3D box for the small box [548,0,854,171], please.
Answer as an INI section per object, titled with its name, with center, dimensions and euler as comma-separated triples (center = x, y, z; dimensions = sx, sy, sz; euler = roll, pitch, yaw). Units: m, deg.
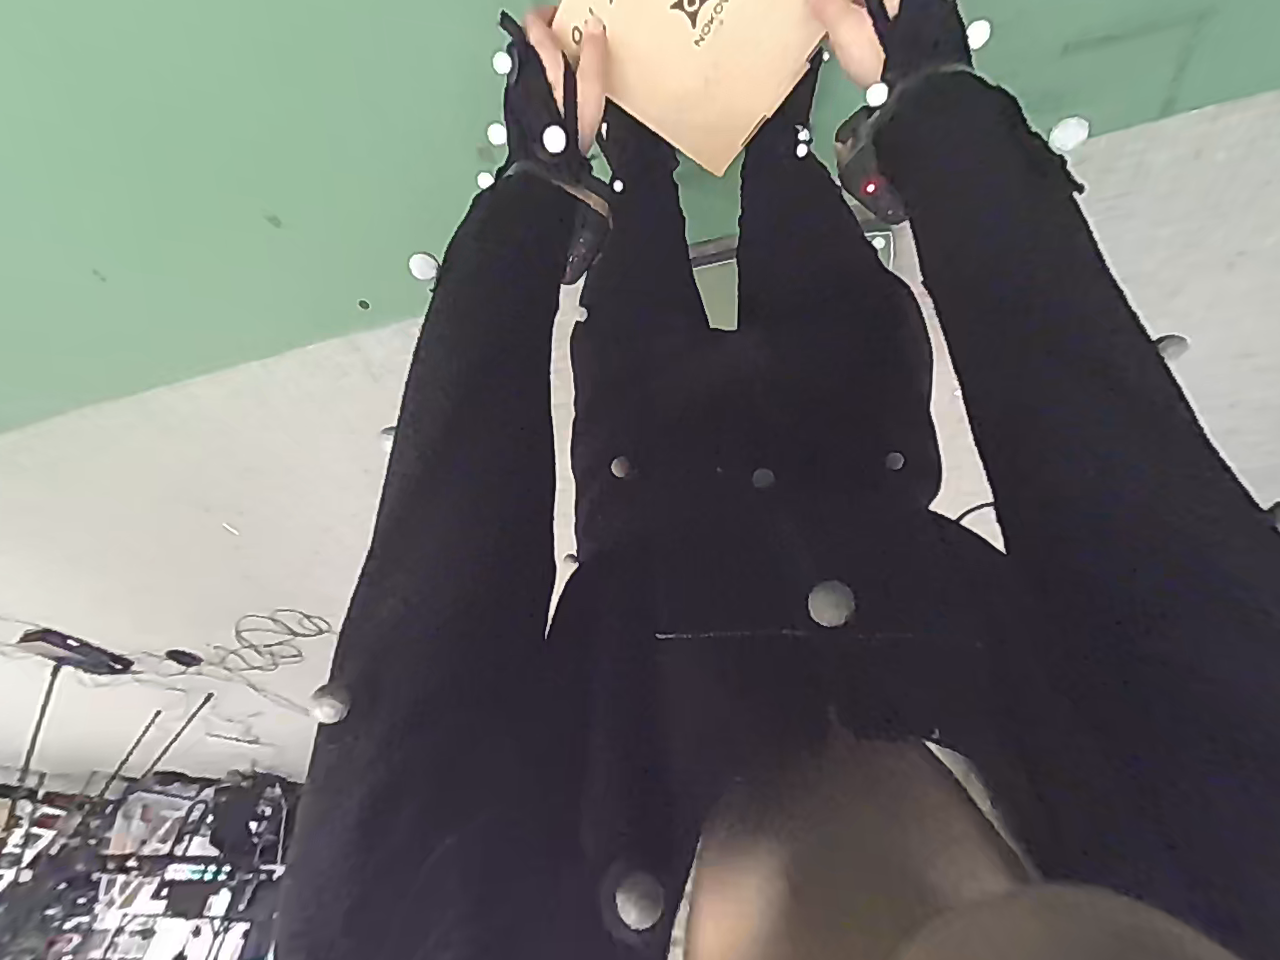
[small box]
center = 0.047, -0.407, 0.440
dimensions = 0.179, 0.176, 0.168
euler = 23, 137, -26
